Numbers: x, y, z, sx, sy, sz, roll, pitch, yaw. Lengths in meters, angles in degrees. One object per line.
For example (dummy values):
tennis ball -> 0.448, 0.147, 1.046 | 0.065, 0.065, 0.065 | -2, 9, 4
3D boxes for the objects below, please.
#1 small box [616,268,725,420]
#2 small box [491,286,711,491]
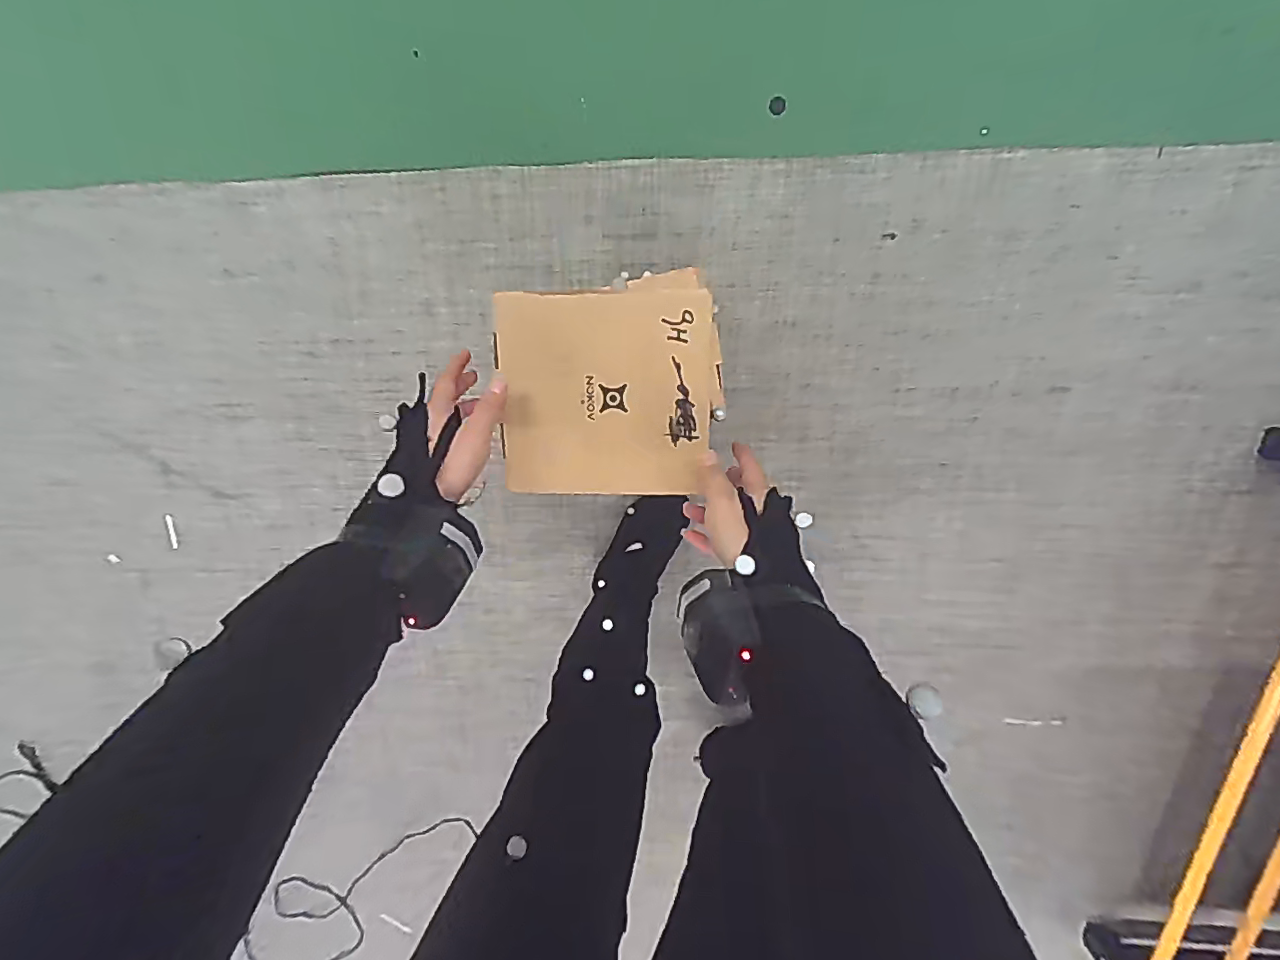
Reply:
small box -> 0.000, -0.154, 0.670 | 0.179, 0.176, 0.168 | -11, 104, 8
small box -> -0.024, -0.094, 0.518 | 0.179, 0.176, 0.168 | 1, 107, 5
